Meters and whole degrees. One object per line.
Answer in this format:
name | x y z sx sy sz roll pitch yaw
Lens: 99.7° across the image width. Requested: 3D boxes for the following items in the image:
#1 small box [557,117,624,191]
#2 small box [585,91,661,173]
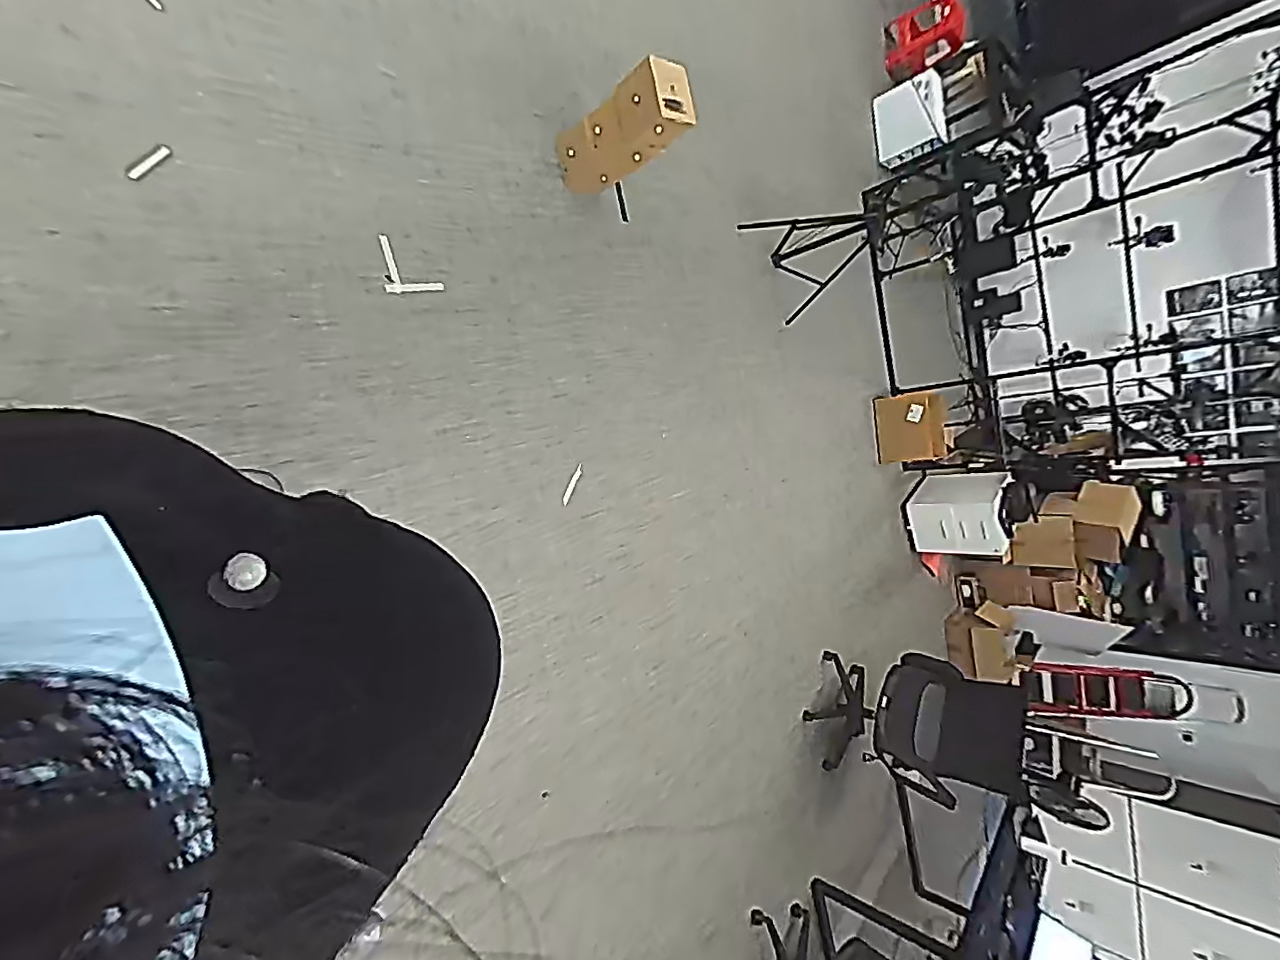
small box | -0.179 -1.161 1.941 0.179 0.176 0.168 -22 103 -43
small box | -0.059 -1.168 1.831 0.179 0.176 0.168 -19 100 -42
